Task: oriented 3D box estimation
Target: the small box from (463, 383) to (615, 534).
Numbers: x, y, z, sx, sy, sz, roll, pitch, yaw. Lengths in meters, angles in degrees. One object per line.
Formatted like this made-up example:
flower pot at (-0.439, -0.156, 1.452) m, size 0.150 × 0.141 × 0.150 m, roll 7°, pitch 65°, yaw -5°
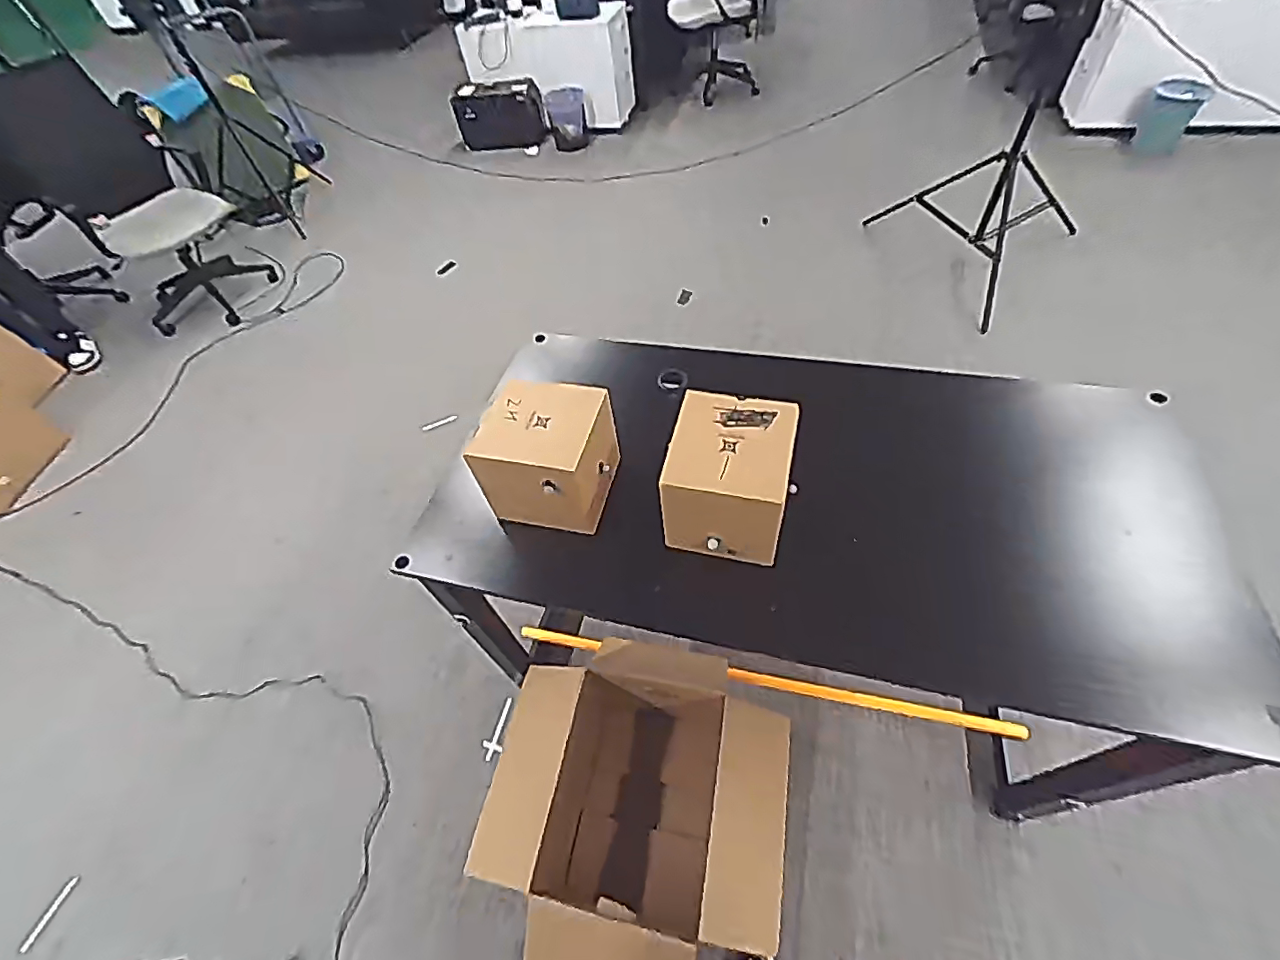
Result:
small box at (-0.147, -0.031, 0.872) m, size 0.179 × 0.176 × 0.168 m, roll 8°, pitch 53°, yaw 13°

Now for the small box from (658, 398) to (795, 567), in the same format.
small box at (0.130, 0.004, 0.813) m, size 0.168 × 0.176 × 0.179 m, roll 9°, pitch 55°, yaw 14°
